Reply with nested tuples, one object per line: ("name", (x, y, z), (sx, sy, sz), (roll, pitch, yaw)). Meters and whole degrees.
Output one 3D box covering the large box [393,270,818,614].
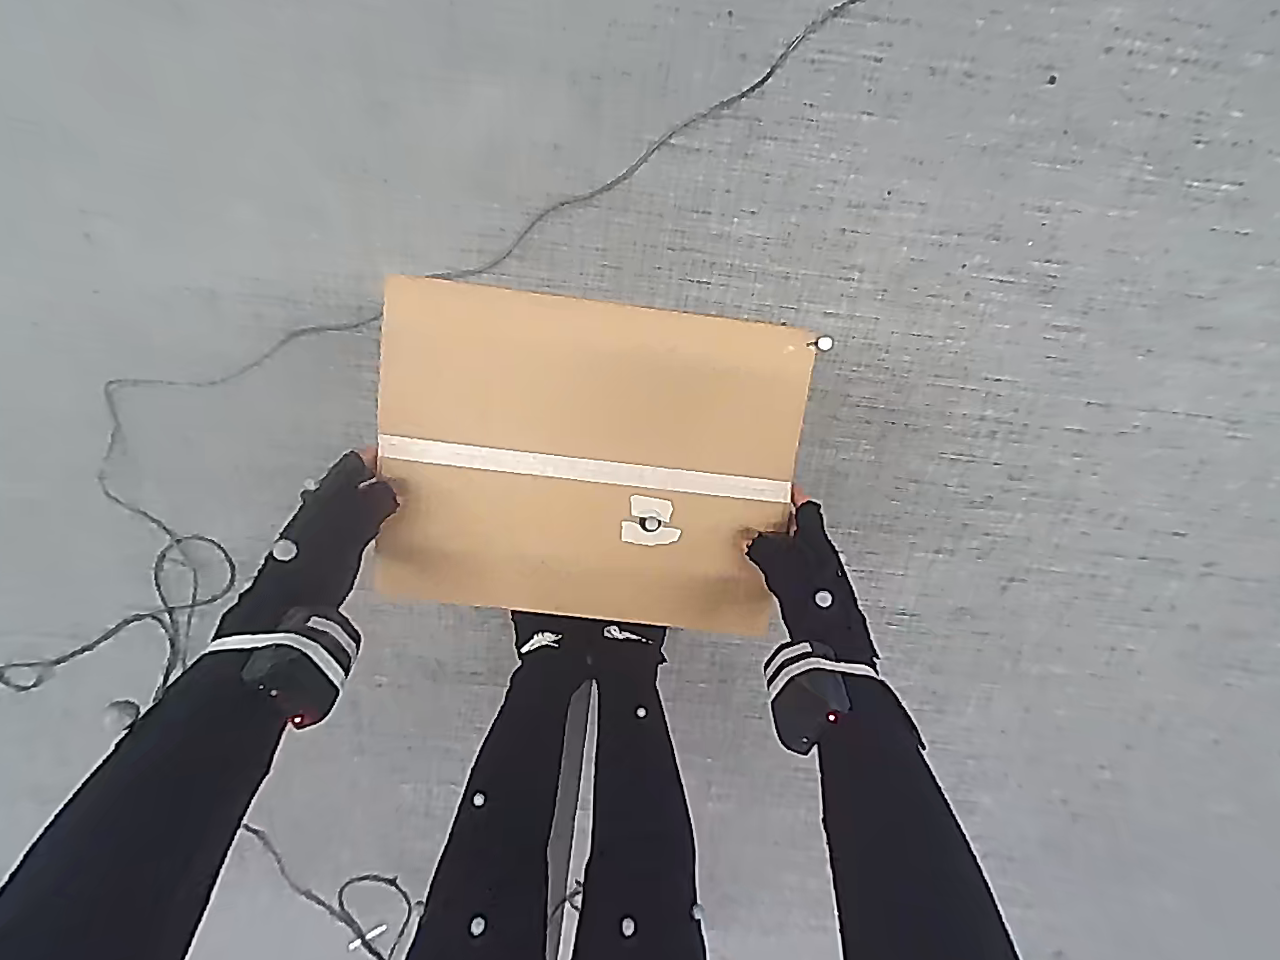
("large box", (-0.046, -0.052, 0.683), (0.408, 0.320, 0.320), (7, 101, -3))
